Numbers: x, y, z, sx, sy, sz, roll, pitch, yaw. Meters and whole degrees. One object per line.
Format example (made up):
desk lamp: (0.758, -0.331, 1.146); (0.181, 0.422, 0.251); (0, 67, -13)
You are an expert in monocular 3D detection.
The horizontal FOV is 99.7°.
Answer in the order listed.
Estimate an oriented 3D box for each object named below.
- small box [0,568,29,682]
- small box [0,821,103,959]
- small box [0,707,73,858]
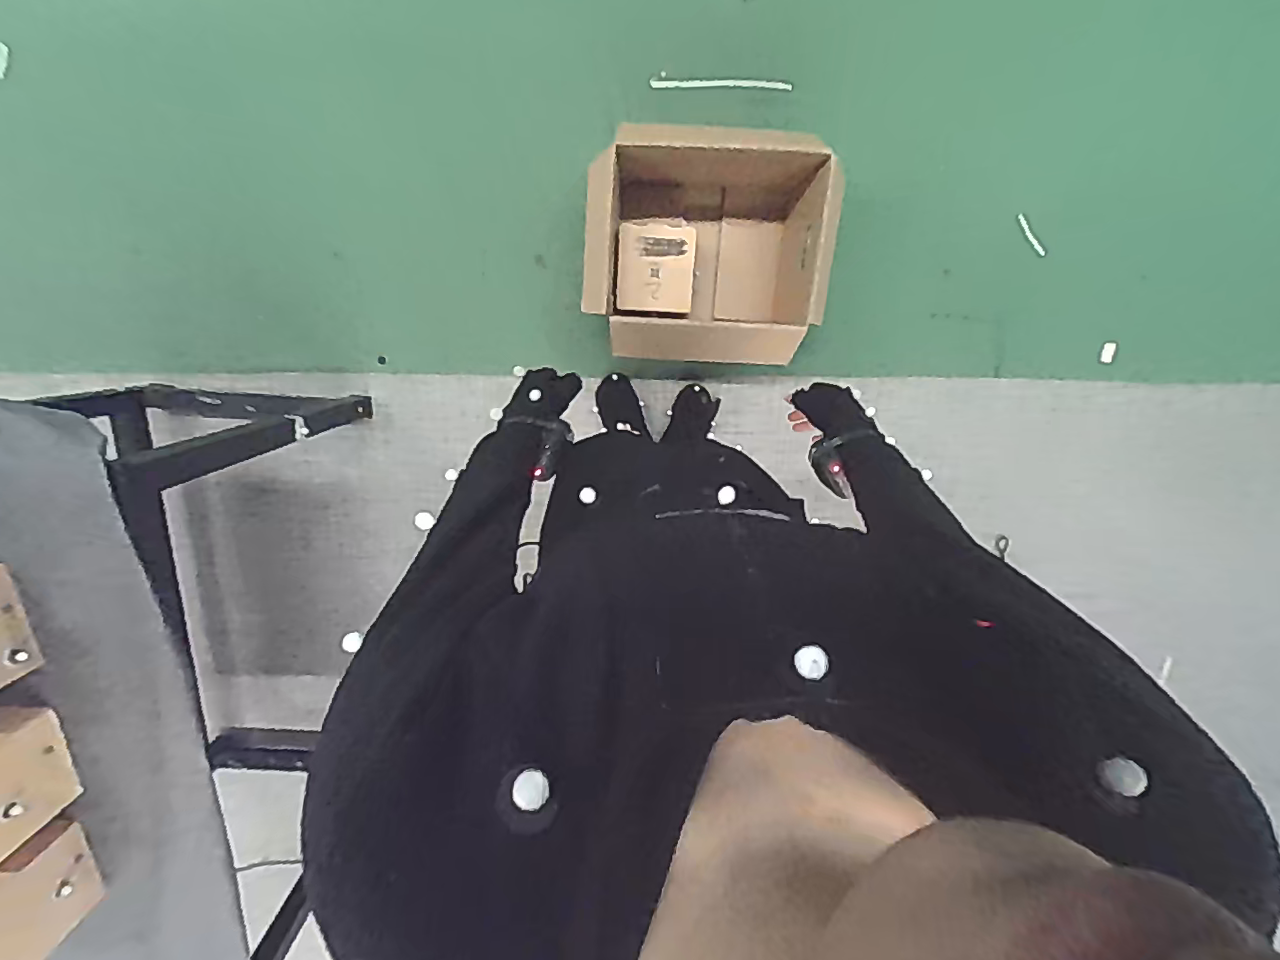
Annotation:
small box: (-0.971, 0.215, 0.703); (0.179, 0.176, 0.168); (0, 107, 1)
small box: (-1.010, 0.659, 0.835); (0.179, 0.176, 0.168); (-1, 107, 1)
small box: (-0.981, 0.445, 0.774); (0.179, 0.176, 0.168); (0, 107, 1)
